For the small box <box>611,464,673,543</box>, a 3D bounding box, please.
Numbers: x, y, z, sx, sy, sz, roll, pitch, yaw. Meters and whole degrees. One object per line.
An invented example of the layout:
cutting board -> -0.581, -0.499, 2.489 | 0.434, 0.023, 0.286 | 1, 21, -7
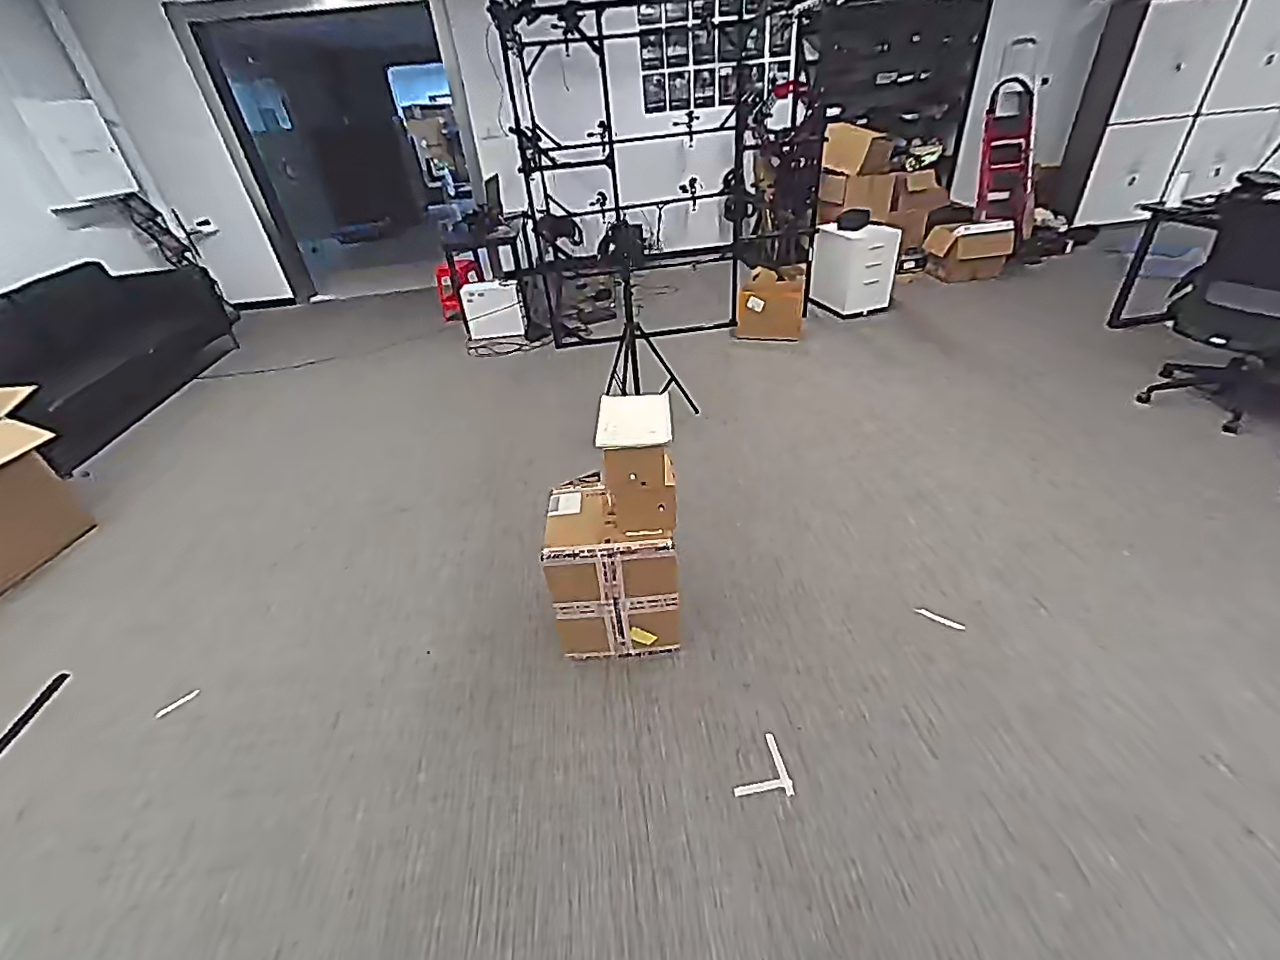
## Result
small box -> 0.005, 0.071, 1.615 | 0.179, 0.176, 0.168 | -5, 36, -1

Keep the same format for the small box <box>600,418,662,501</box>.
small box -> -0.022, -0.059, 1.516 | 0.168, 0.176, 0.179 | -2, 37, 1
